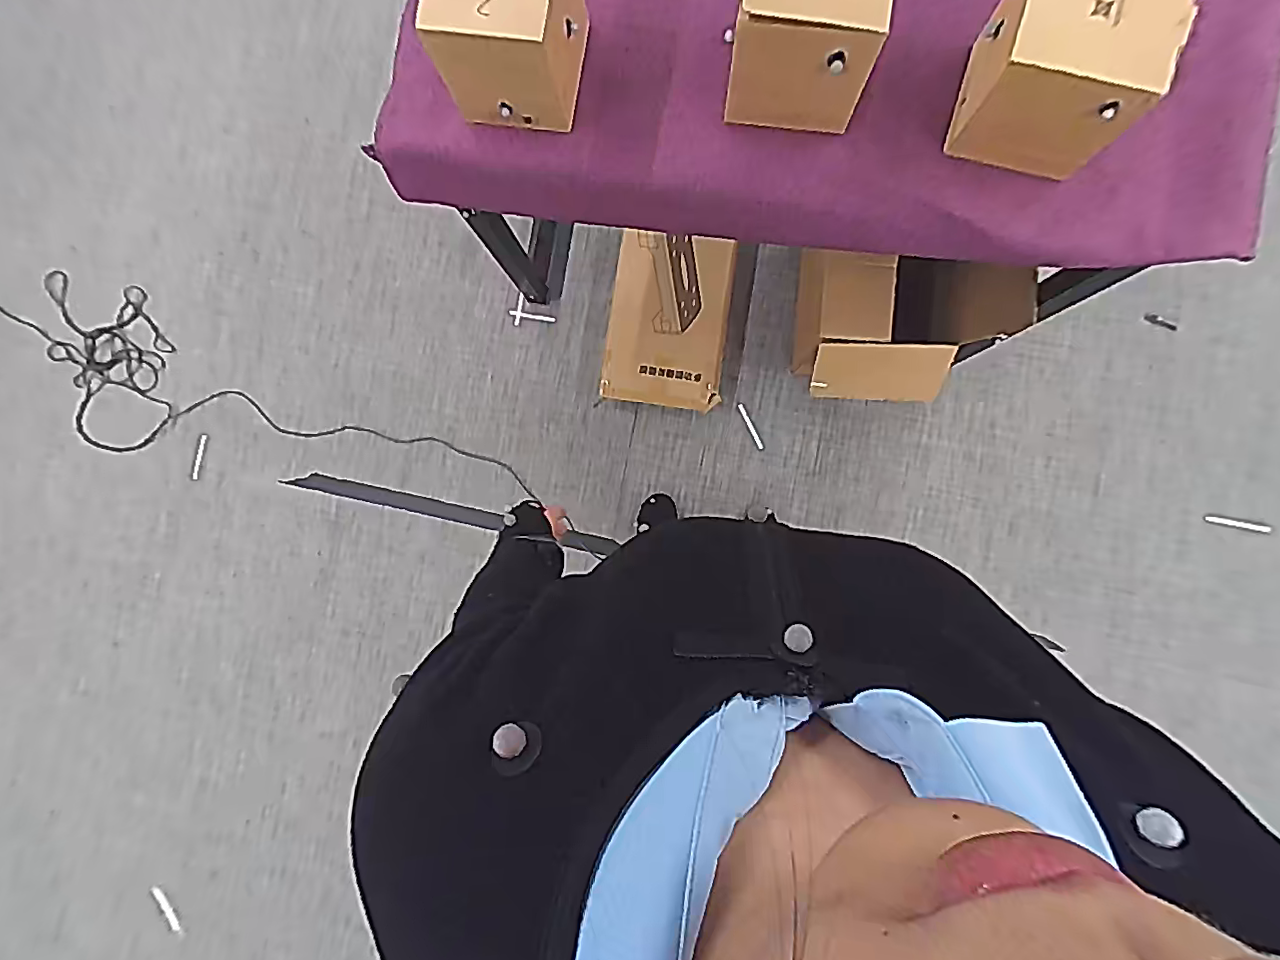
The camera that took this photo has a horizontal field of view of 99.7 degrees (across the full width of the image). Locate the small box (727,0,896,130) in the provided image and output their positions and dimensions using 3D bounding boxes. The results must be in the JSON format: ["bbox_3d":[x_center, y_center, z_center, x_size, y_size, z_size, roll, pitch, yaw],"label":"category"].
[{"bbox_3d":[0.218,-0.594,0.704,0.179,0.176,0.168,9,86,5],"label":"small box"}]

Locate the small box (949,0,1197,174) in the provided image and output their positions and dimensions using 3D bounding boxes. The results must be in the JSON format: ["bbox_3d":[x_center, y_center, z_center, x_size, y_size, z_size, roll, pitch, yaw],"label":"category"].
[{"bbox_3d":[0.528,-0.521,0.679,0.179,0.176,0.168,16,89,5],"label":"small box"}]
